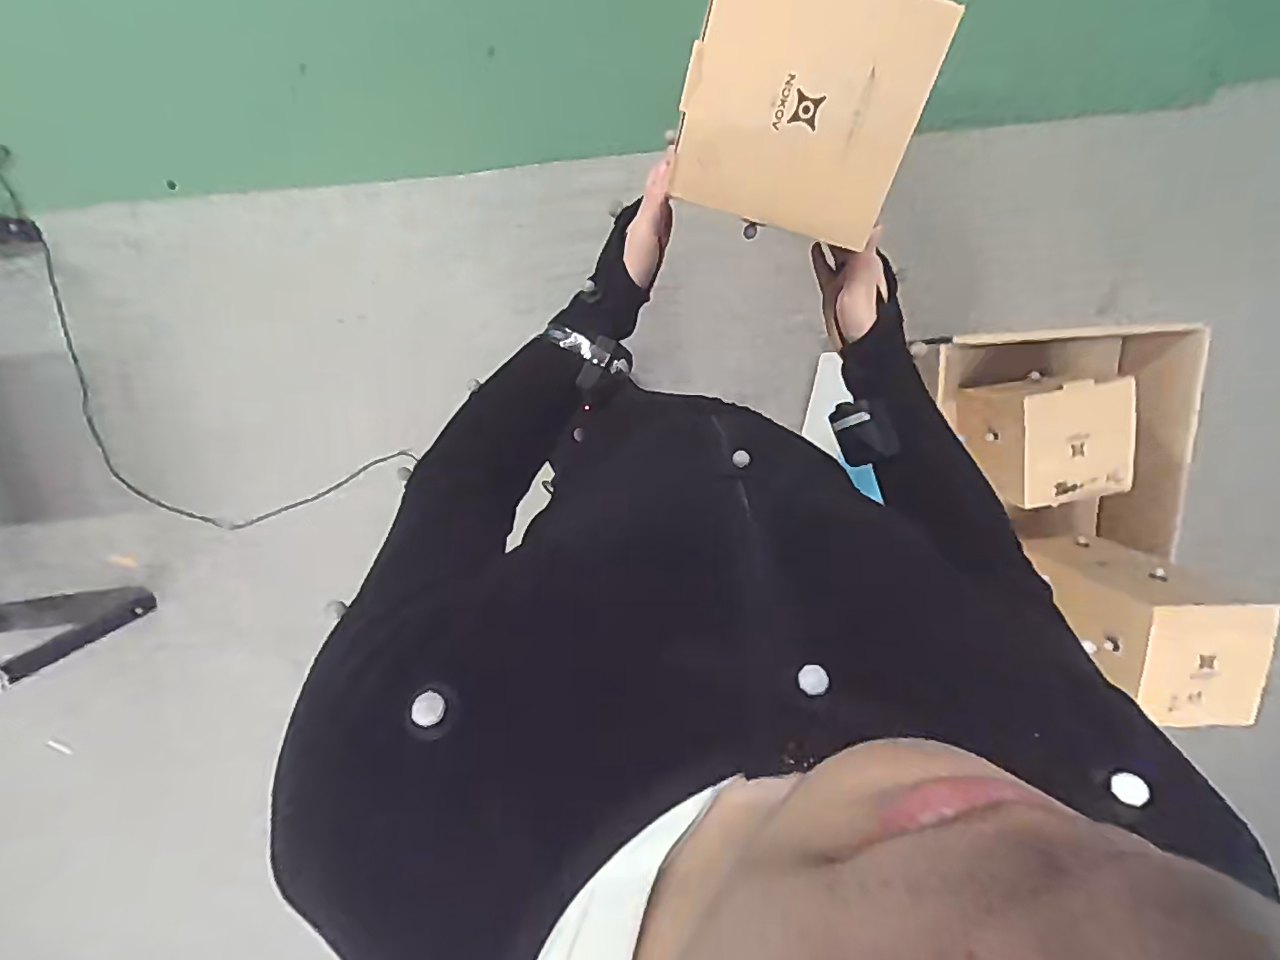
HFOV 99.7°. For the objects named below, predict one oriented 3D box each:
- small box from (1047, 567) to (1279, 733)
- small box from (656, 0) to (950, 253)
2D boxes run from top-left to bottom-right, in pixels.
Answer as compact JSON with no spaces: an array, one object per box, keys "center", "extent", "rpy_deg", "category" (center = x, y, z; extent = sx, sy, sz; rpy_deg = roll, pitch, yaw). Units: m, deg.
[{"center":[0.725,0.230,0.769],"extent":[0.168,0.176,0.179],"rpy_deg":[0,102,0],"category":"small box"},{"center":[0.123,-0.315,0.483],"extent":[0.179,0.176,0.168],"rpy_deg":[15,118,-2],"category":"small box"}]
